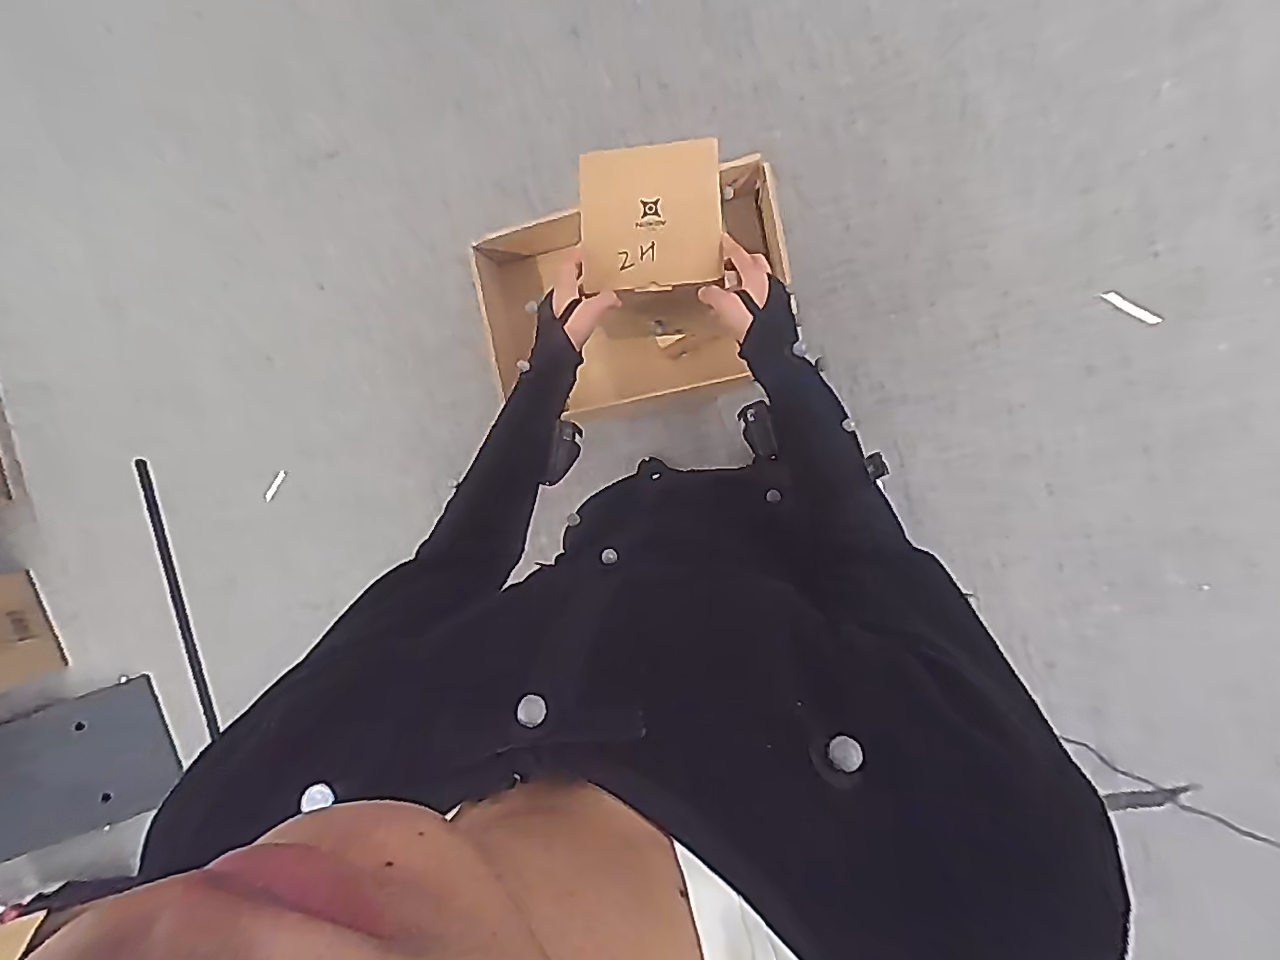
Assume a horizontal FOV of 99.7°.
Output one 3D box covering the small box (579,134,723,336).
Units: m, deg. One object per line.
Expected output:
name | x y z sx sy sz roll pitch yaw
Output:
small box | 0.020 -0.304 0.704 0.168 0.176 0.179 -3 87 8
